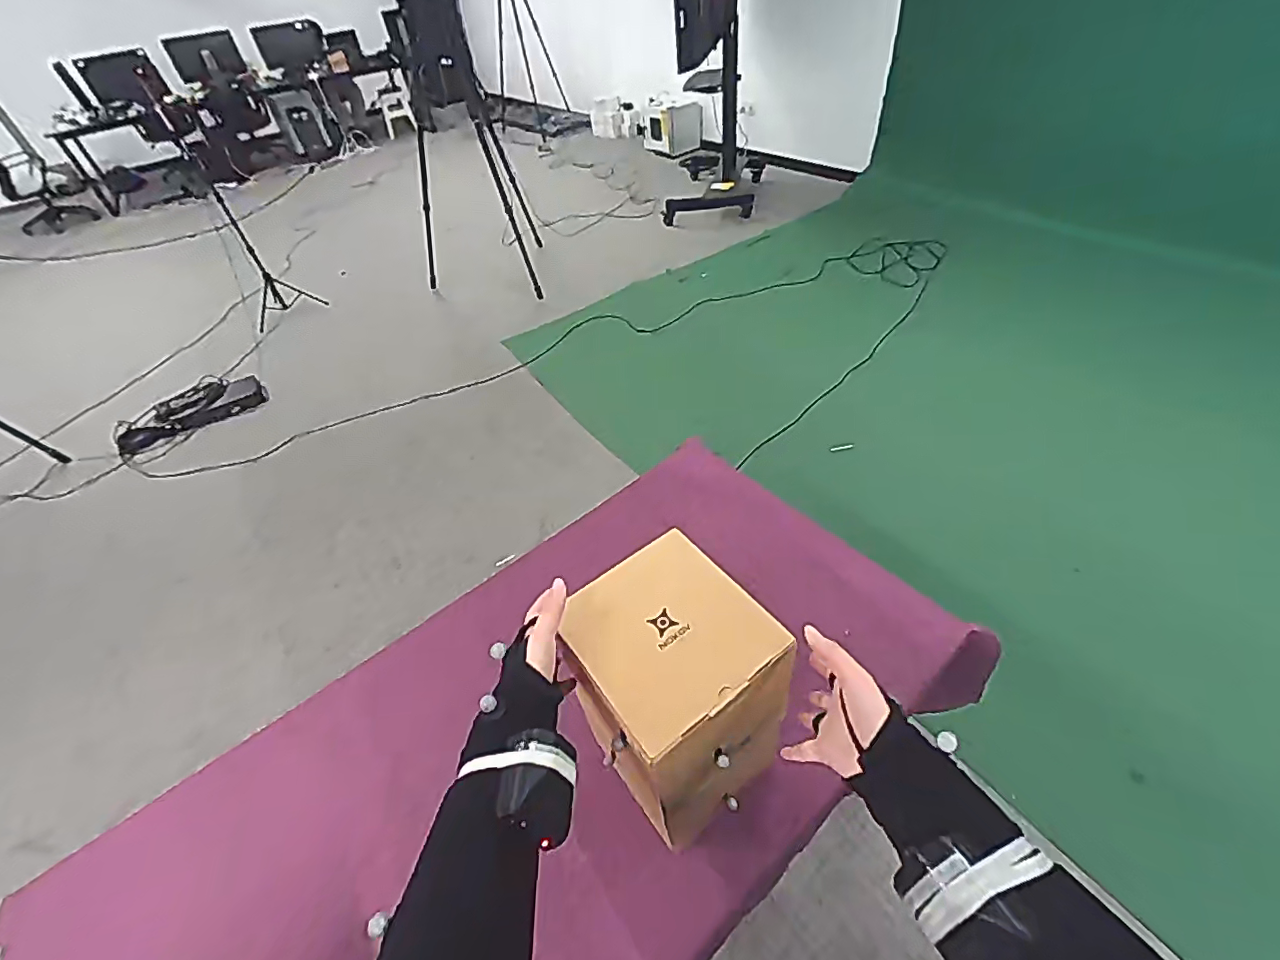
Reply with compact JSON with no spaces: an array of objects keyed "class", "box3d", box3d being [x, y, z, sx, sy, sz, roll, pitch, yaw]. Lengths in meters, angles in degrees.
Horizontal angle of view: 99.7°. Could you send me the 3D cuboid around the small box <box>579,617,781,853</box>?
[{"class":"small box","box3d":[0.048,0.314,0.669,0.168,0.176,0.179,-32,49,-21]}]
